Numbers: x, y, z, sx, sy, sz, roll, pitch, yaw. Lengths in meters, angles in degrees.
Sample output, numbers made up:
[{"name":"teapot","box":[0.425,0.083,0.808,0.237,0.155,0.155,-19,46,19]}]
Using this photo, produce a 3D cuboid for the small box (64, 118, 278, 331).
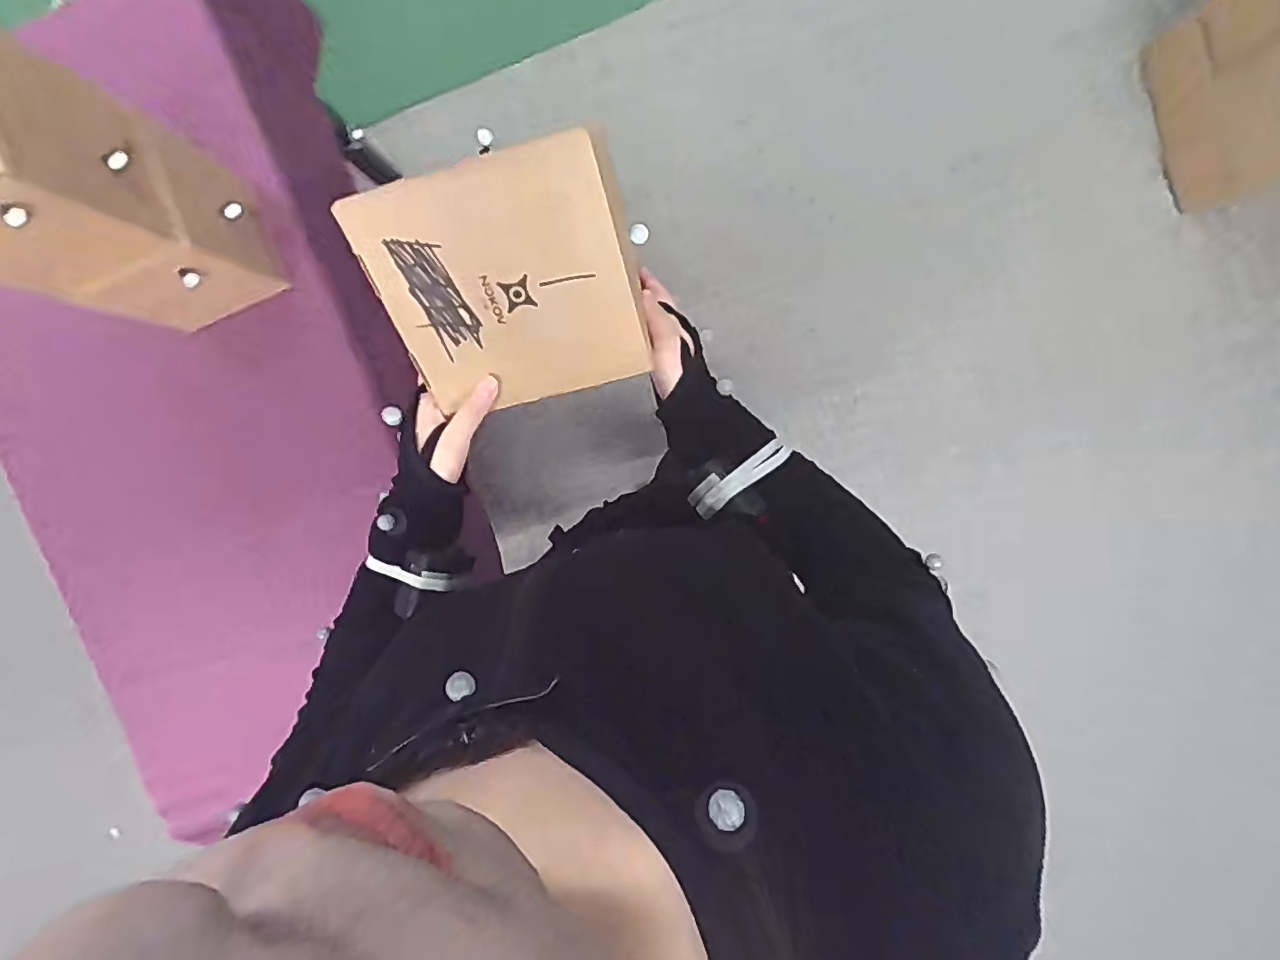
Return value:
[{"name":"small box","box":[-0.619,-0.315,0.707,0.179,0.176,0.168,-21,92,6]}]

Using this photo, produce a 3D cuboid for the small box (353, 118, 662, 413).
[{"name":"small box","box":[-0.084,-0.179,0.443,0.179,0.176,0.168,-12,125,7]}]

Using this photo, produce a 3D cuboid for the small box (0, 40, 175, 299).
[{"name":"small box","box":[-0.641,-0.305,0.546,0.179,0.176,0.168,-21,92,5]}]
